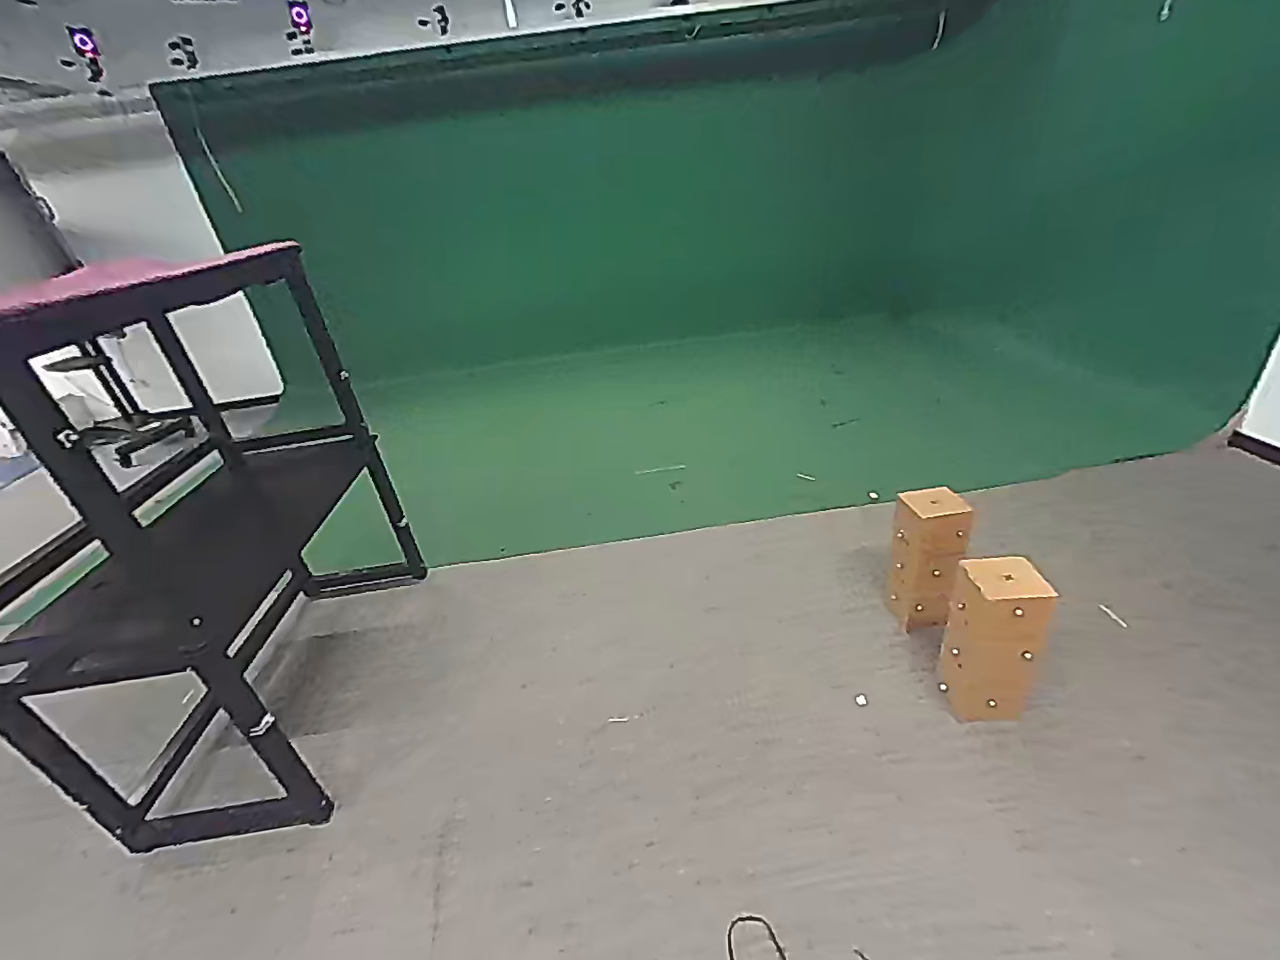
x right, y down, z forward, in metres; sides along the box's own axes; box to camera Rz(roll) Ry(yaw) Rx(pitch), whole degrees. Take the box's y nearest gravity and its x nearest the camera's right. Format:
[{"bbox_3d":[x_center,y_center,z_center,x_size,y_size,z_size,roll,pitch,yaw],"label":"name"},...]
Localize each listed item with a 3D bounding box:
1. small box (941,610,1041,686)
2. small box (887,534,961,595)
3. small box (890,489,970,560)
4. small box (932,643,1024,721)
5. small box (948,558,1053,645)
[{"bbox_3d":[1.018,0.481,1.587,0.179,0.176,0.168,-6,29,3],"label":"small box"},{"bbox_3d":[1.001,0.290,1.922,0.179,0.176,0.168,-10,29,-3],"label":"small box"},{"bbox_3d":[0.978,0.152,1.839,0.179,0.176,0.168,-10,28,-2],"label":"small box"},{"bbox_3d":[1.034,0.622,1.671,0.179,0.176,0.168,-6,30,5],"label":"small box"},{"bbox_3d":[0.994,0.340,1.510,0.179,0.176,0.168,-5,30,5],"label":"small box"}]
